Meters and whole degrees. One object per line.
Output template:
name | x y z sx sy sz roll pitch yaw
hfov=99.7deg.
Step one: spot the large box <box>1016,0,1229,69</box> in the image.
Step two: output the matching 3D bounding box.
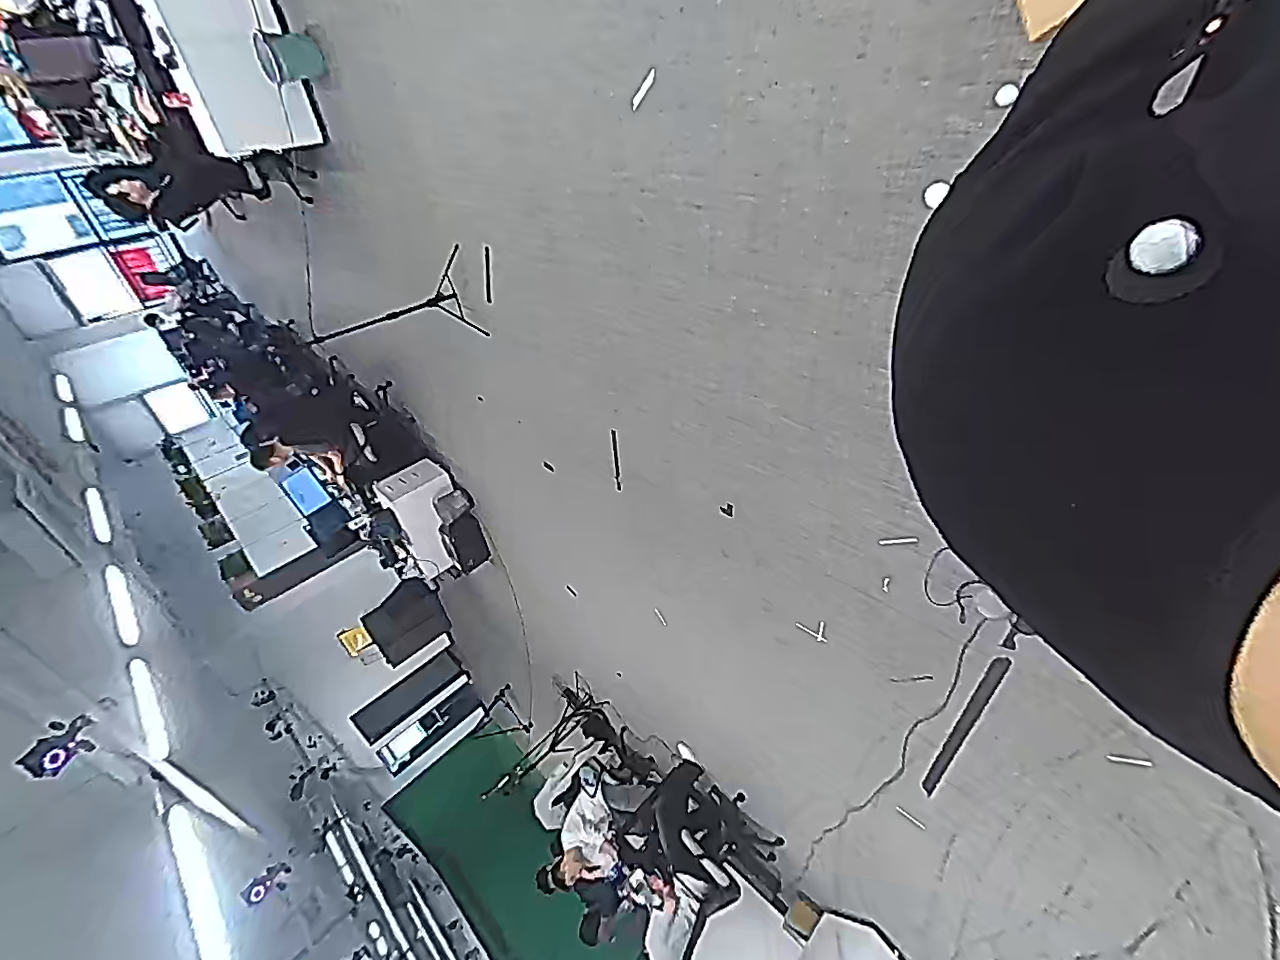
large box | 0.555 -0.645 0.469 0.320 0.408 0.320 -4 114 62
